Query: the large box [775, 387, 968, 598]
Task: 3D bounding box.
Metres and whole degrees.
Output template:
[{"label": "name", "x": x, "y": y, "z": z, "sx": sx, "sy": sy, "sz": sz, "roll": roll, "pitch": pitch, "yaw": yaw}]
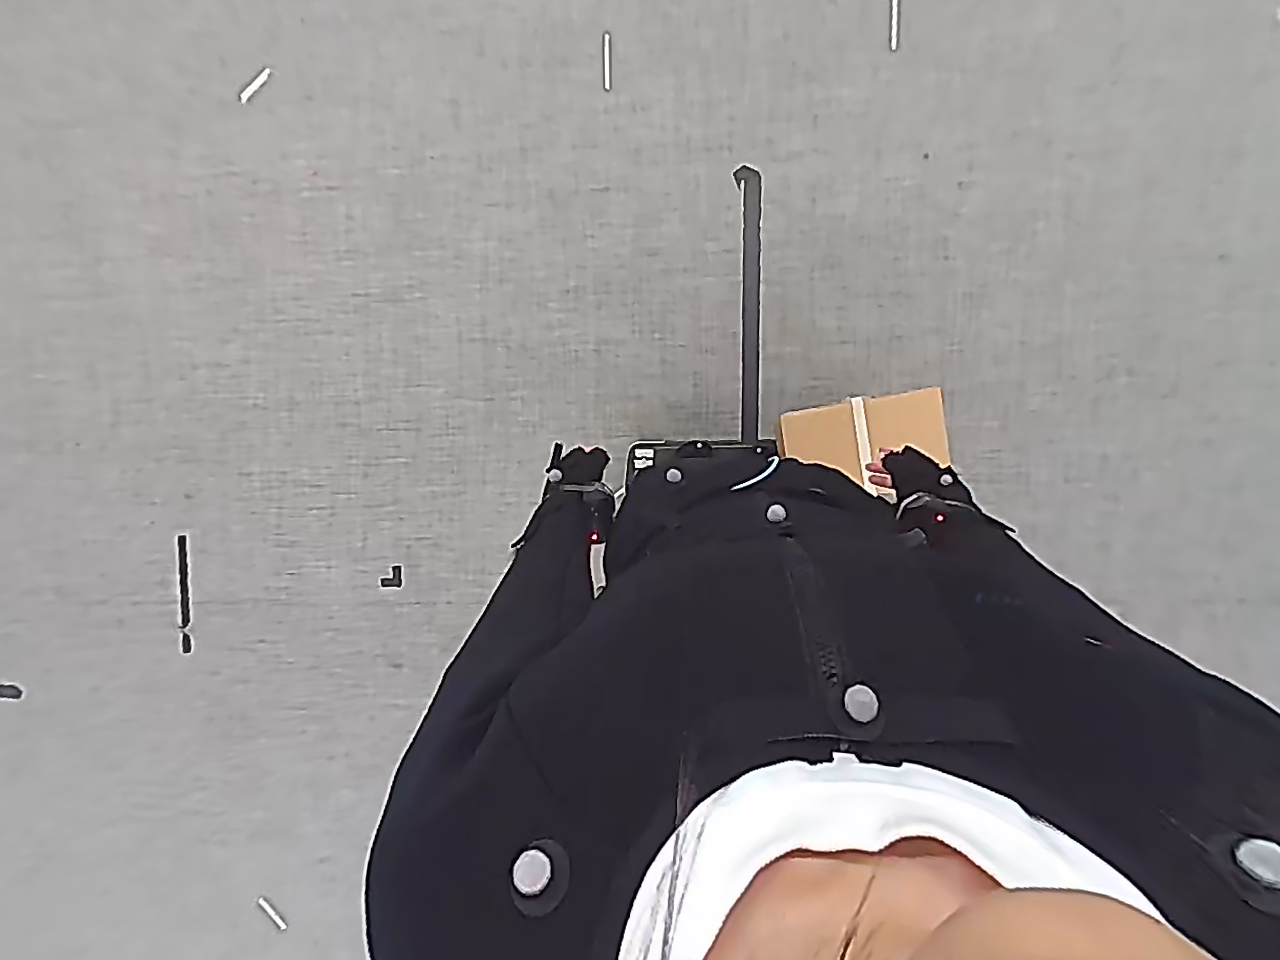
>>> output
[{"label": "large box", "x": 0.508, "y": 0.018, "z": 1.257, "sx": 0.320, "sy": 0.320, "sz": 0.408, "roll": -9, "pitch": 94, "yaw": 13}]
